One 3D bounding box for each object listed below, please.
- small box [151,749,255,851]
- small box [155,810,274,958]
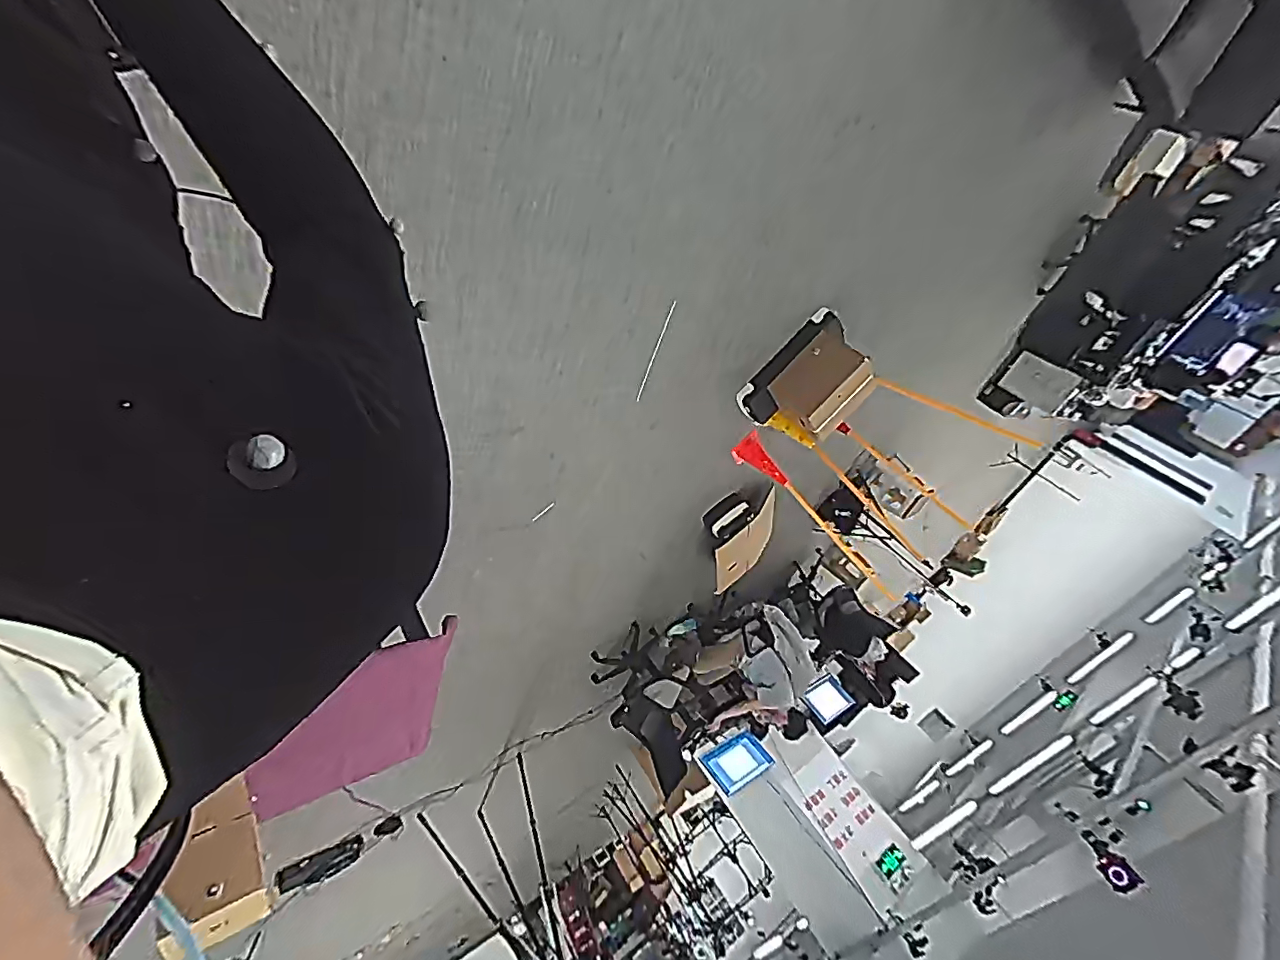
[{"bbox_3d":[-1.005,0.758,1.251,0.168,0.176,0.179,-11,136,-40],"label":"small box"},{"bbox_3d":[-0.911,0.857,1.162,0.179,0.176,0.168,-10,134,-39],"label":"small box"}]
